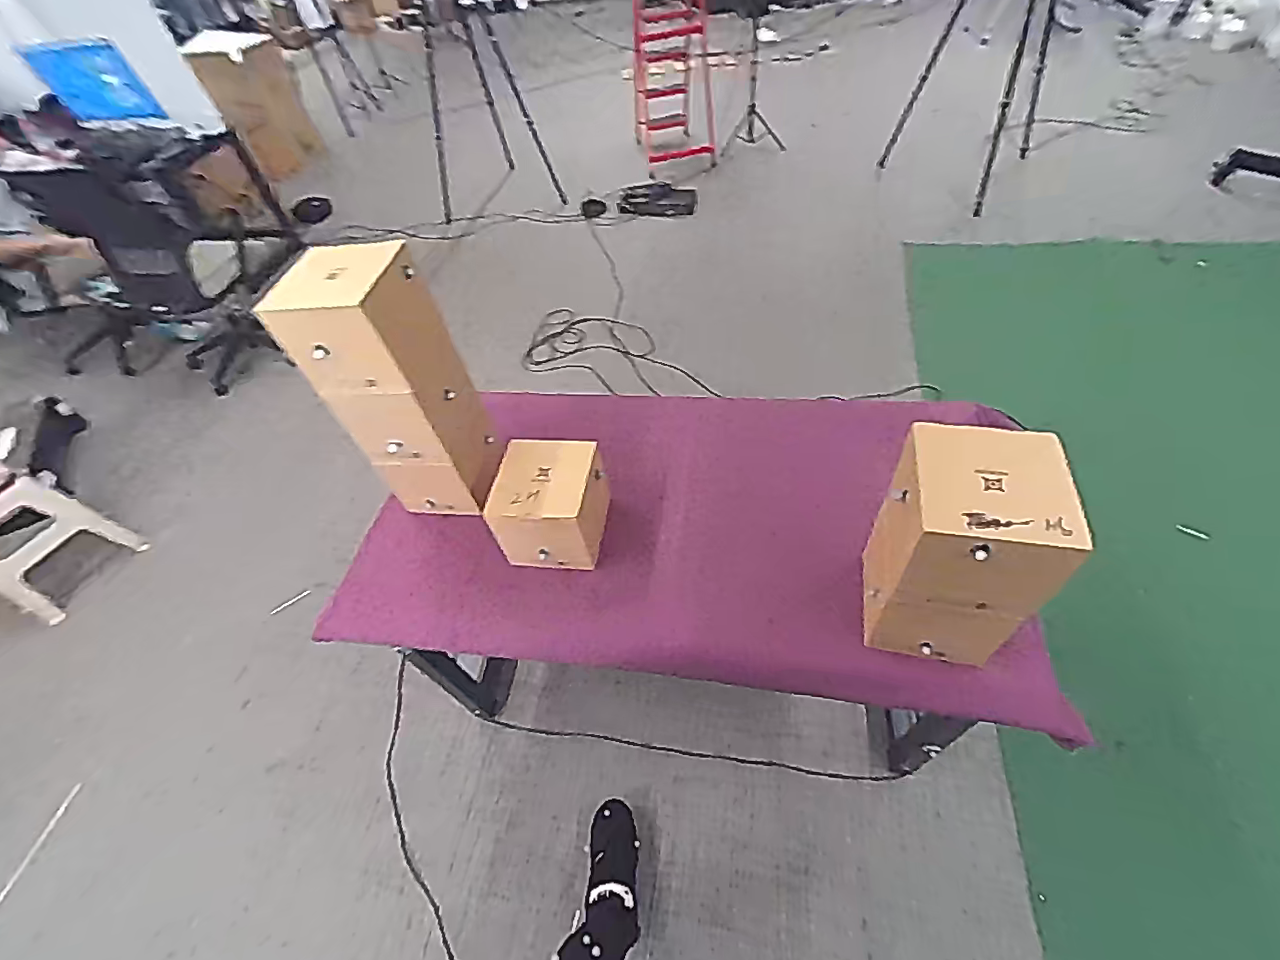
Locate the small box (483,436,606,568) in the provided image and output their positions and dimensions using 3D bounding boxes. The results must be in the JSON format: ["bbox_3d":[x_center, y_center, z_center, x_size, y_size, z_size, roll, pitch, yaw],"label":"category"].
[{"bbox_3d":[-0.163,0.040,1.000,0.168,0.176,0.179,2,52,10],"label":"small box"}]

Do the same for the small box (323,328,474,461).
[{"bbox_3d":[-0.422,-0.155,0.983,0.168,0.176,0.179,1,52,10],"label":"small box"}]

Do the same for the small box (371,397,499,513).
[{"bbox_3d":[-0.405,-0.052,1.109,0.168,0.176,0.179,1,52,10],"label":"small box"}]

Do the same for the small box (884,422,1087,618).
[{"bbox_3d":[0.418,0.050,0.693,0.168,0.176,0.179,6,51,15],"label":"small box"}]

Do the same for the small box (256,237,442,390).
[{"bbox_3d":[-0.441,-0.256,0.857,0.168,0.176,0.179,0,51,10],"label":"small box"}]
